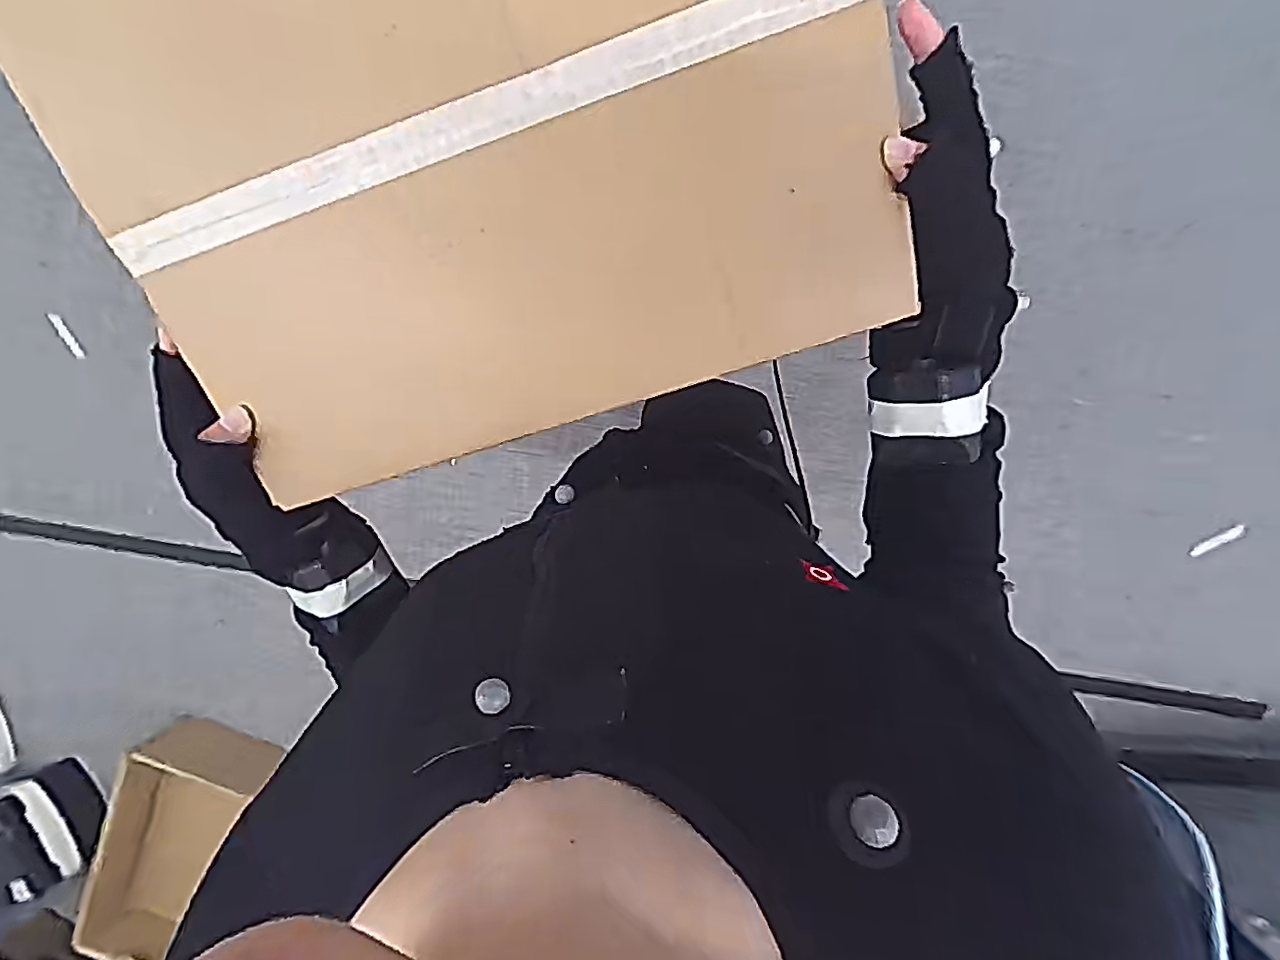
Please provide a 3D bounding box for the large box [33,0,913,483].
[{"bbox_3d":[-0.075,-0.238,0.421,0.408,0.320,0.320,-16,111,6],"label":"large box"}]
